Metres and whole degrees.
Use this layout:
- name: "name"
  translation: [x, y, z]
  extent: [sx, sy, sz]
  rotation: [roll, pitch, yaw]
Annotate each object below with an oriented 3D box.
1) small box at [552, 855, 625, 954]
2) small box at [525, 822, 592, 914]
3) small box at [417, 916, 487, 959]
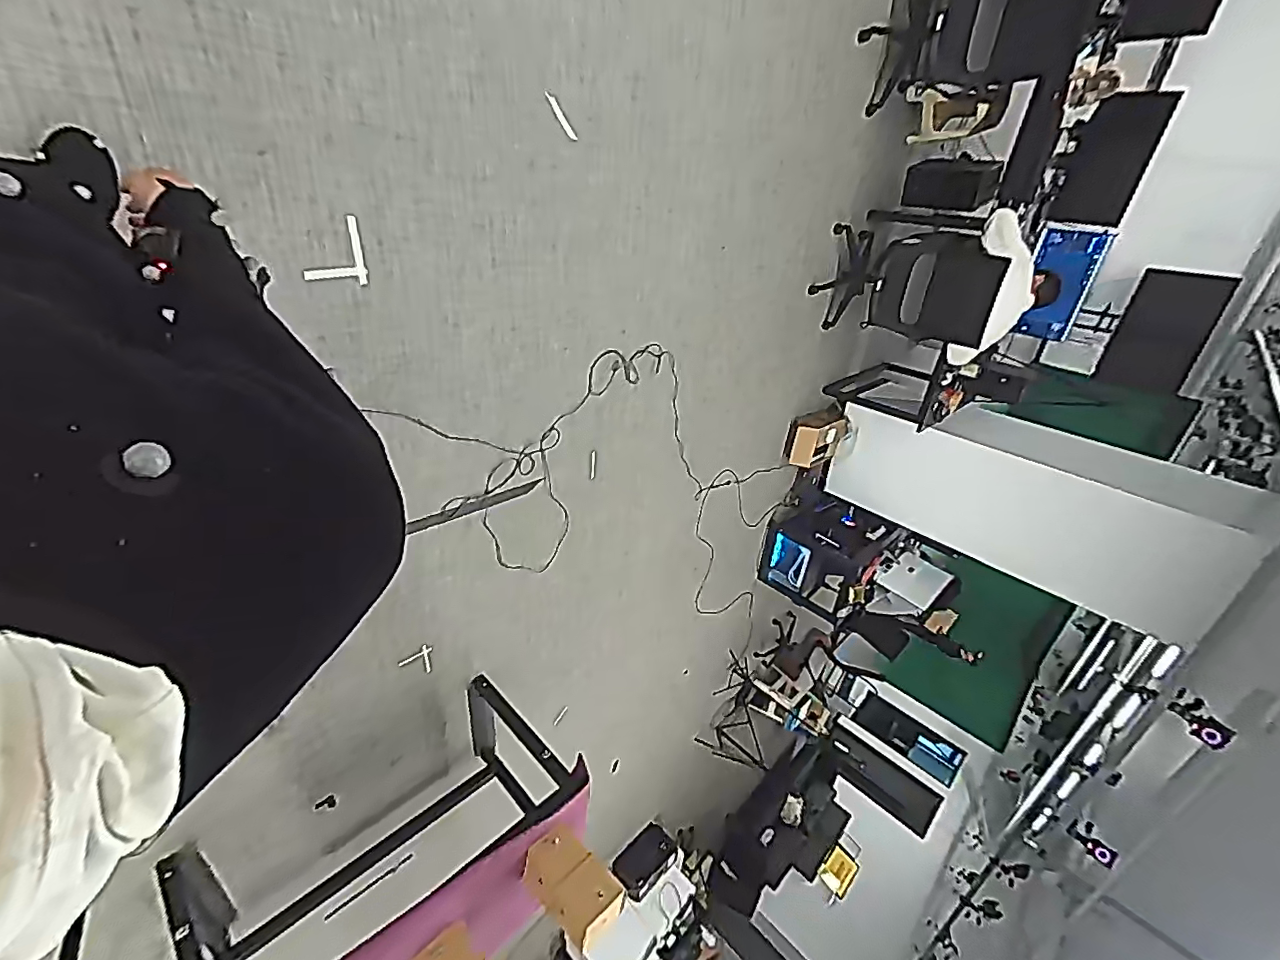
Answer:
- name: "small box"
  translation: [-0.180, 1.463, 1.877]
  extent: [0.179, 0.176, 0.168]
  rotation: [-14, 123, -45]
- name: "small box"
  translation: [-0.302, 1.409, 1.975]
  extent: [0.168, 0.176, 0.179]
  rotation: [-12, 121, -46]
- name: "small box"
  translation: [-0.599, 1.562, 1.722]
  extent: [0.179, 0.176, 0.168]
  rotation: [-25, 132, -38]
